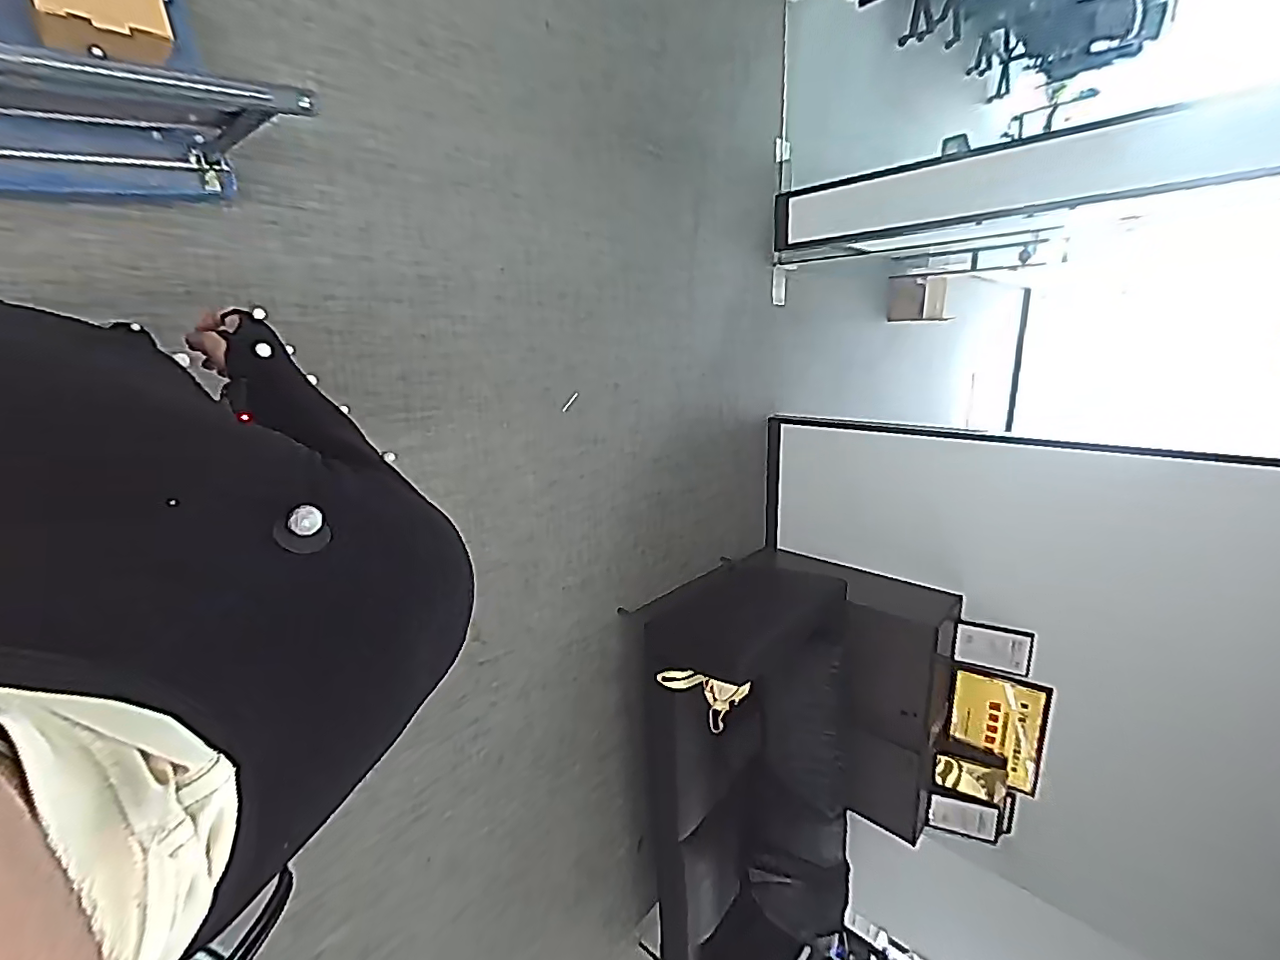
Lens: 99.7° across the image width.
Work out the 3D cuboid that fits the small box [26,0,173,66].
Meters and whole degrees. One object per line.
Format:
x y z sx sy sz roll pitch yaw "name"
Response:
-0.921 -0.838 0.900 0.168 0.176 0.179 -22 114 -42 "small box"
